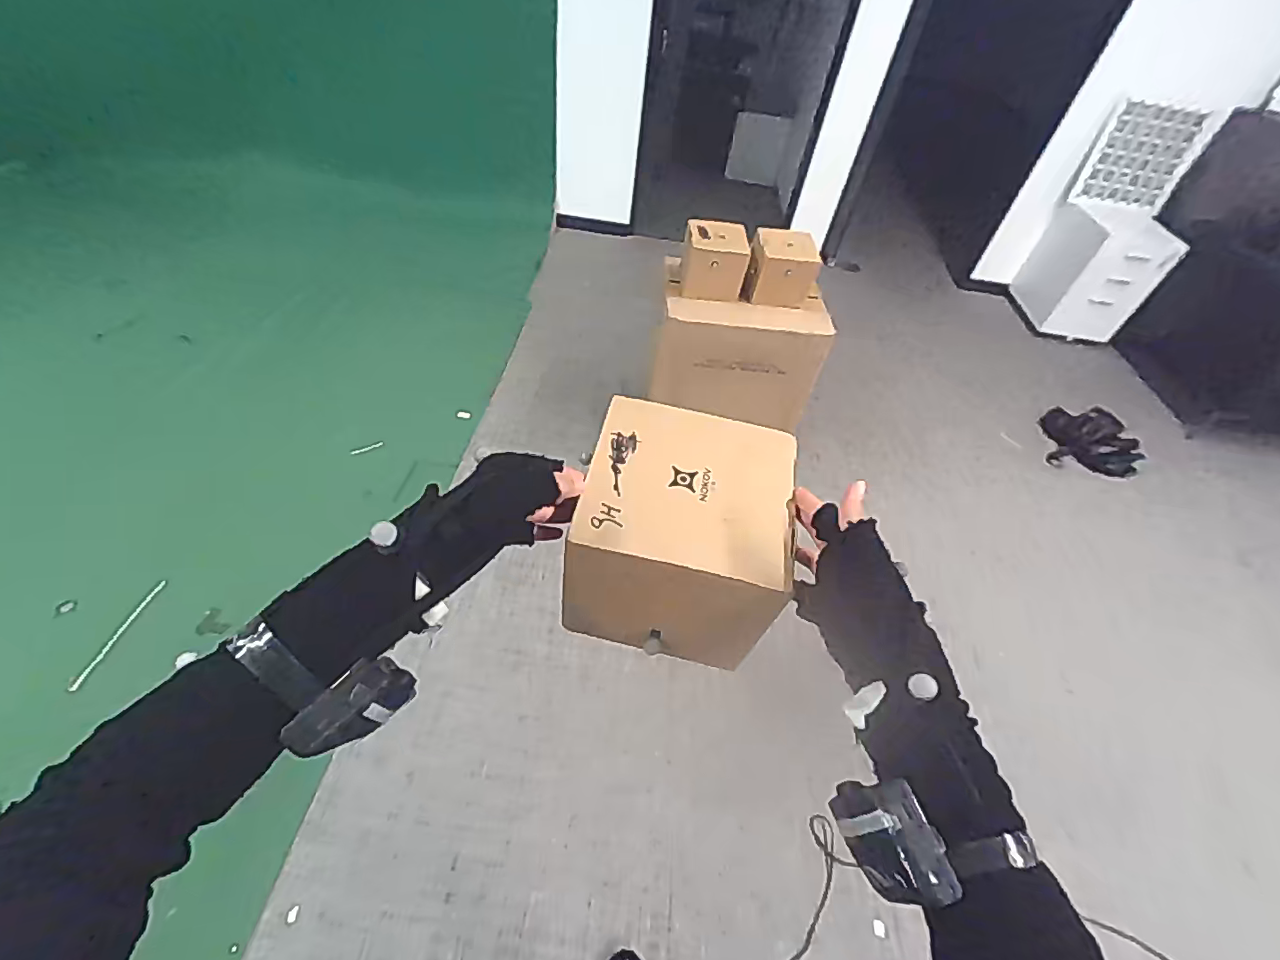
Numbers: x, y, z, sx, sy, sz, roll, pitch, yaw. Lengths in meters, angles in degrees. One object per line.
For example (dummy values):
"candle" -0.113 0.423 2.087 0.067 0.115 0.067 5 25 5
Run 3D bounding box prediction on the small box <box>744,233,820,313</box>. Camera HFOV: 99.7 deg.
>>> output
"small box" 0.439 -0.652 1.713 0.179 0.176 0.168 4 54 -8

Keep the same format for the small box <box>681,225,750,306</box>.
"small box" 0.227 -0.667 1.689 0.179 0.176 0.168 4 53 -7

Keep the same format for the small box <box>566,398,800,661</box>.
"small box" 0.037 0.054 0.514 0.179 0.176 0.168 14 49 0
